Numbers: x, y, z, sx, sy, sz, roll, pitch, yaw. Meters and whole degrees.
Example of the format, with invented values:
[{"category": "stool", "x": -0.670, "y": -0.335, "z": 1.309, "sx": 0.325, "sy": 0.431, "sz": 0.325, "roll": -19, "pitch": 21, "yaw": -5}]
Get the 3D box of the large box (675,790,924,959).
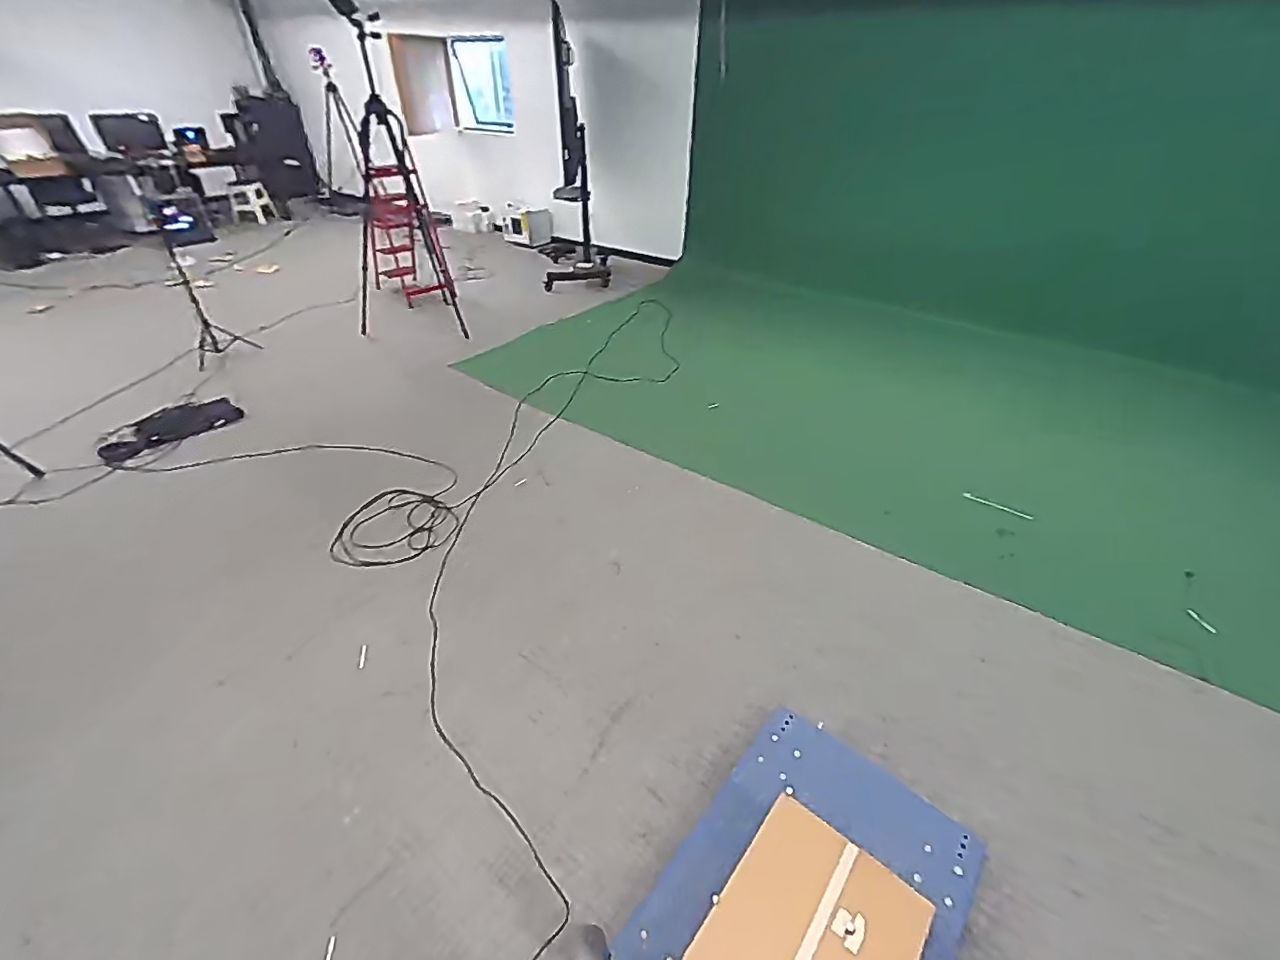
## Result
[{"category": "large box", "x": 0.279, "y": 0.922, "z": 1.030, "sx": 0.320, "sy": 0.320, "sz": 0.408, "roll": 28, "pitch": 44, "yaw": 30}]
